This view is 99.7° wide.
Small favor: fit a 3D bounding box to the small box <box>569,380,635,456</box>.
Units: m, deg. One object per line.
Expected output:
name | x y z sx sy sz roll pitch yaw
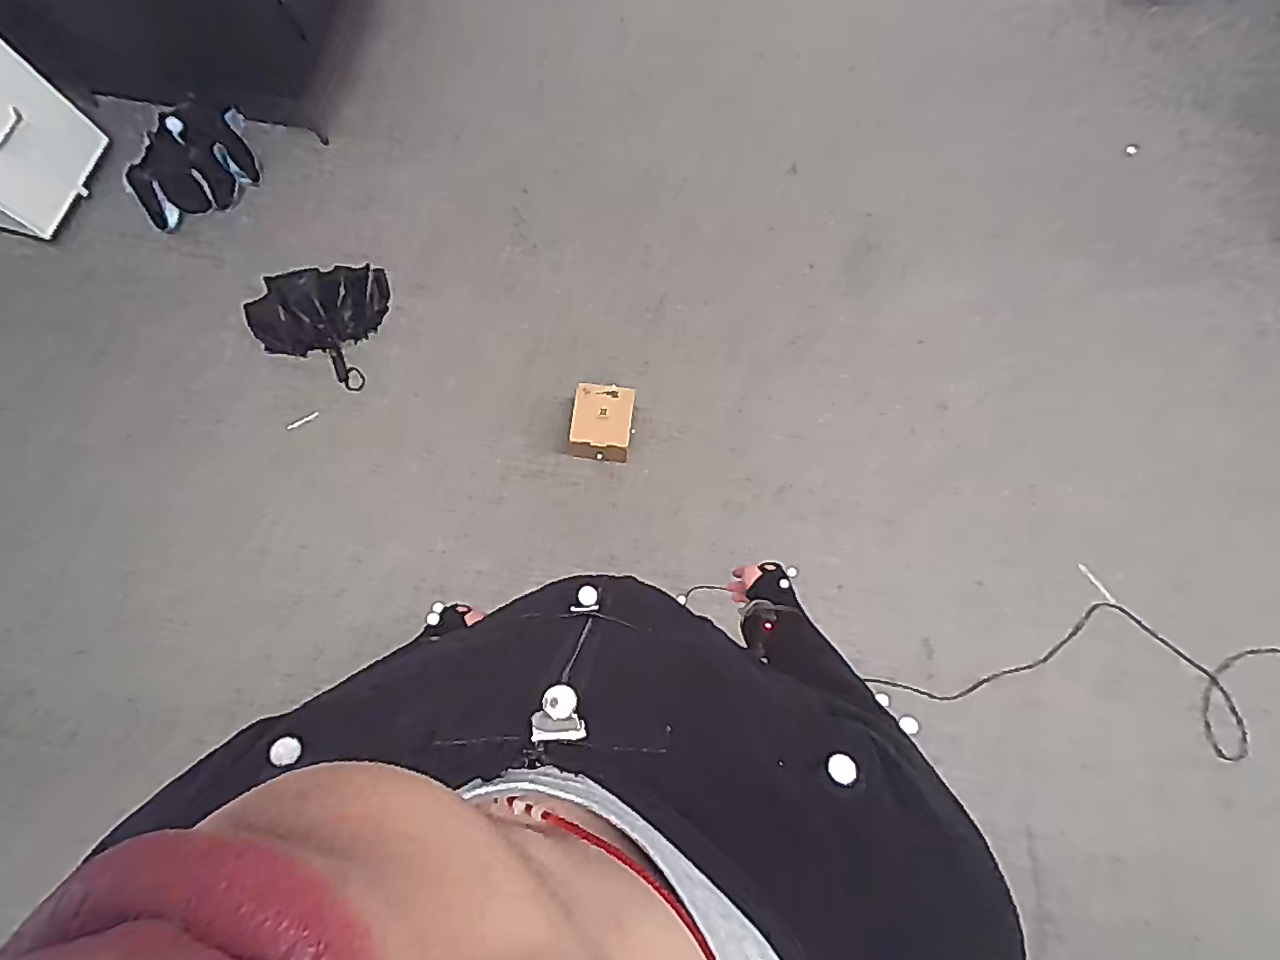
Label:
small box | -0.104 -0.175 1.581 0.168 0.176 0.179 7 80 0
